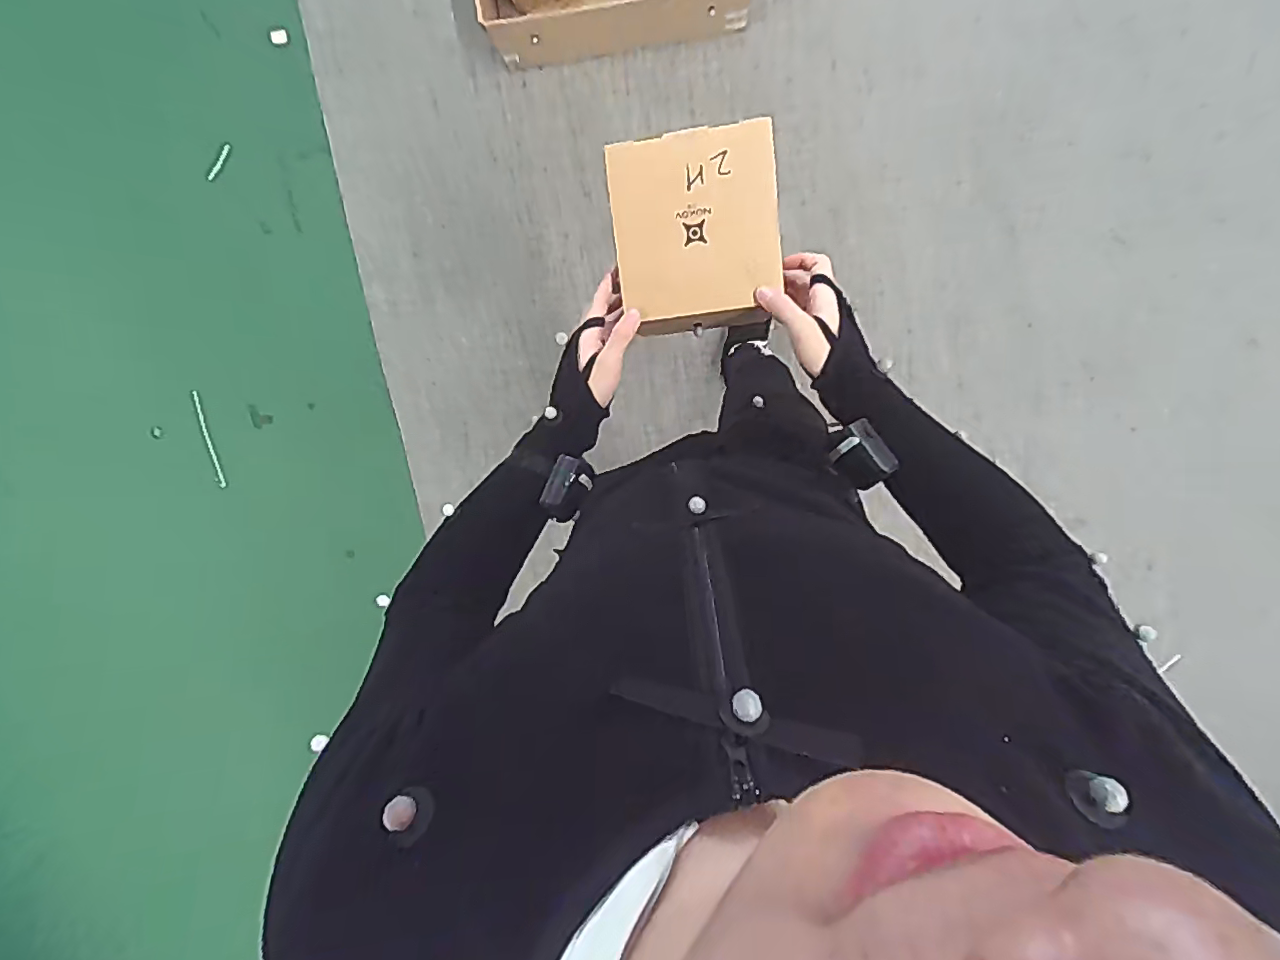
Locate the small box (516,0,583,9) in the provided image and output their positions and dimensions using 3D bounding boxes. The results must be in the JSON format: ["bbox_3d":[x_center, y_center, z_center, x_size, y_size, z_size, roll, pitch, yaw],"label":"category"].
[{"bbox_3d":[-0.222,-1.189,1.195,0.168,0.176,0.179,-3,103,7],"label":"small box"}]
